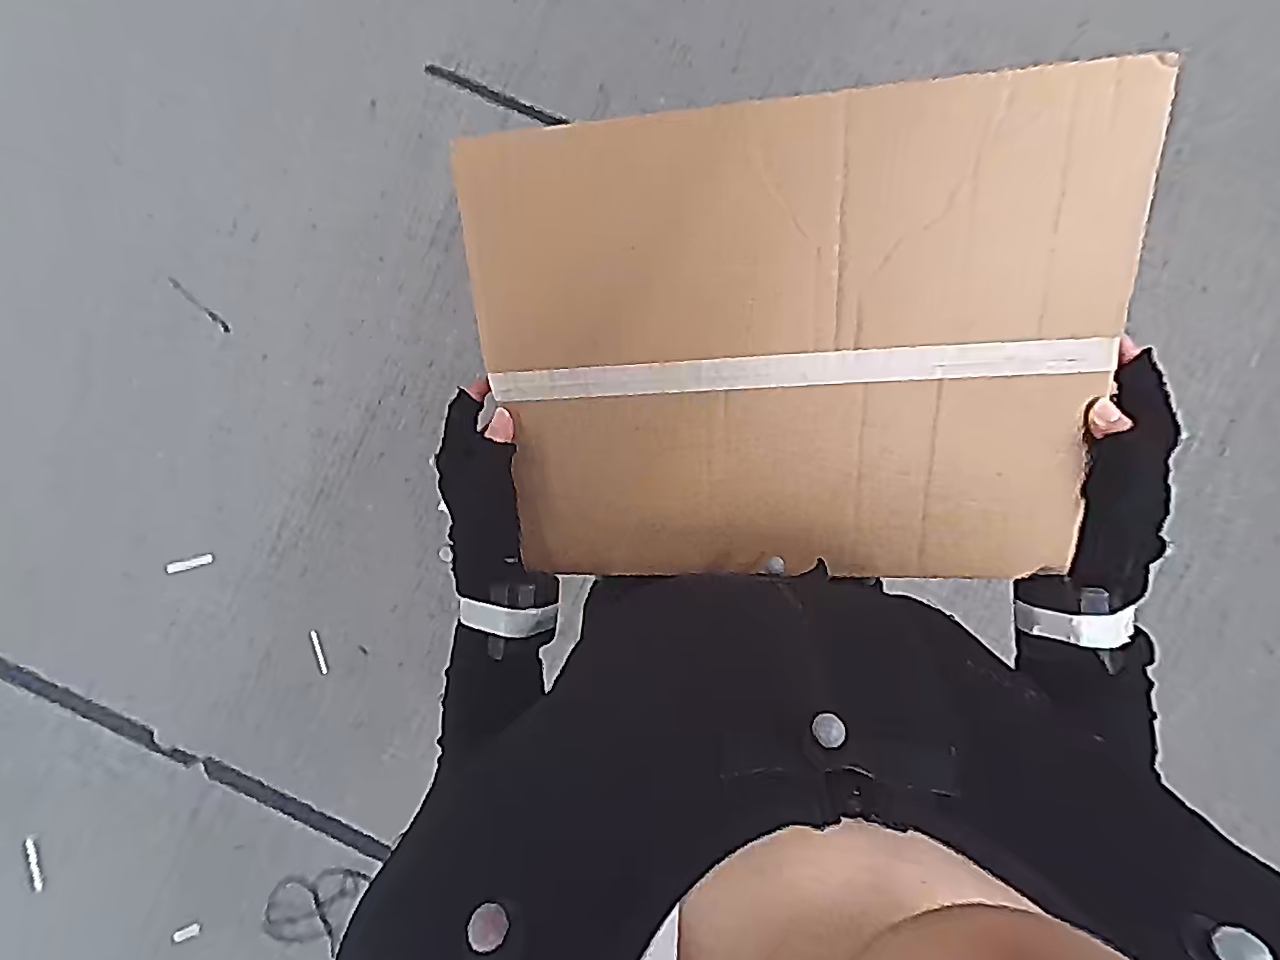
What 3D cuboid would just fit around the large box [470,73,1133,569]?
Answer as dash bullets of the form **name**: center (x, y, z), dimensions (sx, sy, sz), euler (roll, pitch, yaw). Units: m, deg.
- **large box**: center (0.111, -0.127, 0.518), dimensions (0.408, 0.320, 0.320), euler (-2, 111, 8)
